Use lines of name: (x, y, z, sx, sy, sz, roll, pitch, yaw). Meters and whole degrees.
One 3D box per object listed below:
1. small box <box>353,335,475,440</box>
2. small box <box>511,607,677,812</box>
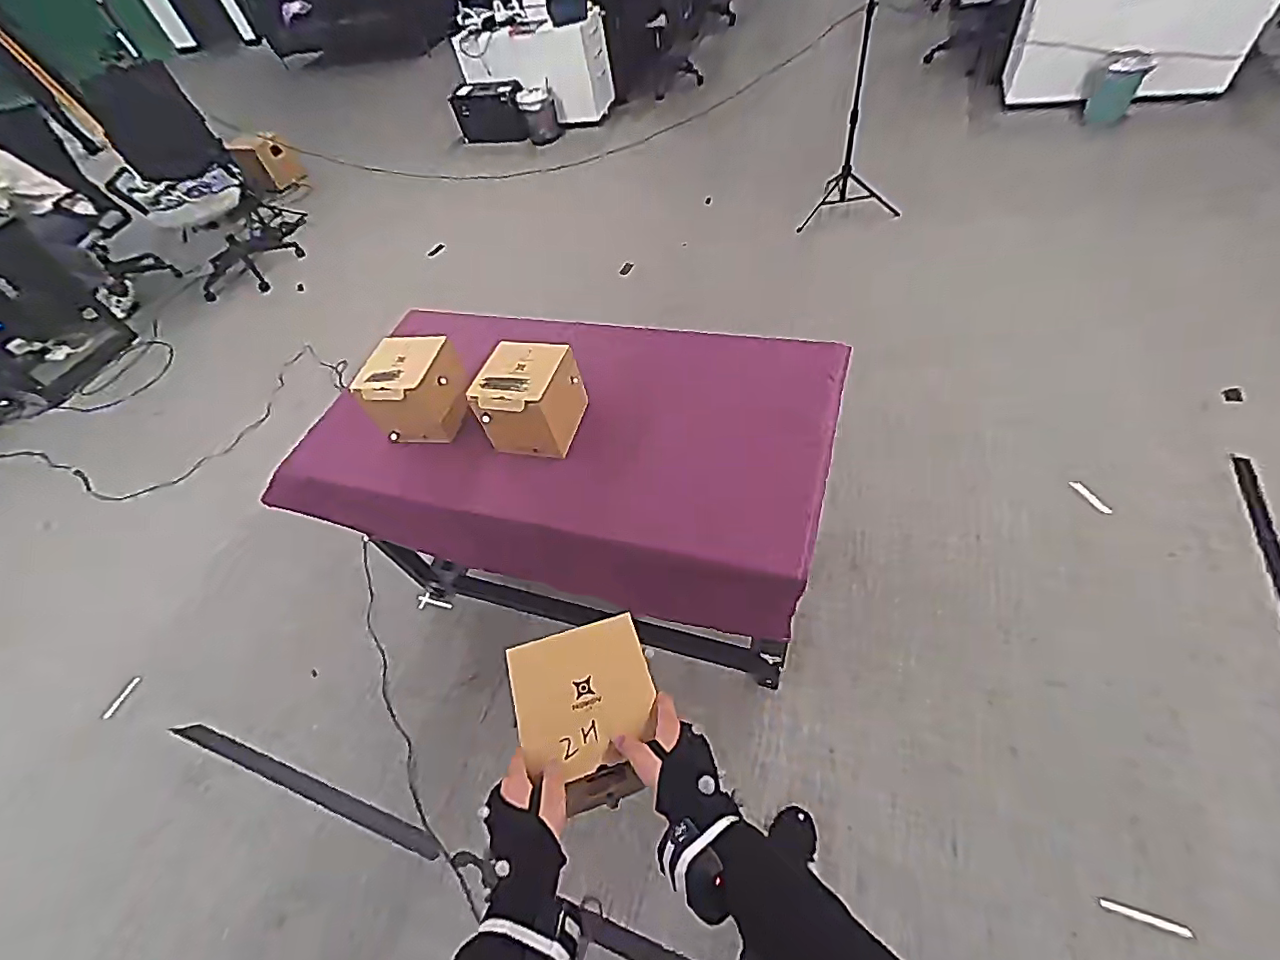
small box: (-0.500, -0.206, 1.230, 0.168, 0.176, 0.179, 2, 54, 13)
small box: (-0.059, 0.297, 0.699, 0.168, 0.176, 0.179, -15, 51, -9)
